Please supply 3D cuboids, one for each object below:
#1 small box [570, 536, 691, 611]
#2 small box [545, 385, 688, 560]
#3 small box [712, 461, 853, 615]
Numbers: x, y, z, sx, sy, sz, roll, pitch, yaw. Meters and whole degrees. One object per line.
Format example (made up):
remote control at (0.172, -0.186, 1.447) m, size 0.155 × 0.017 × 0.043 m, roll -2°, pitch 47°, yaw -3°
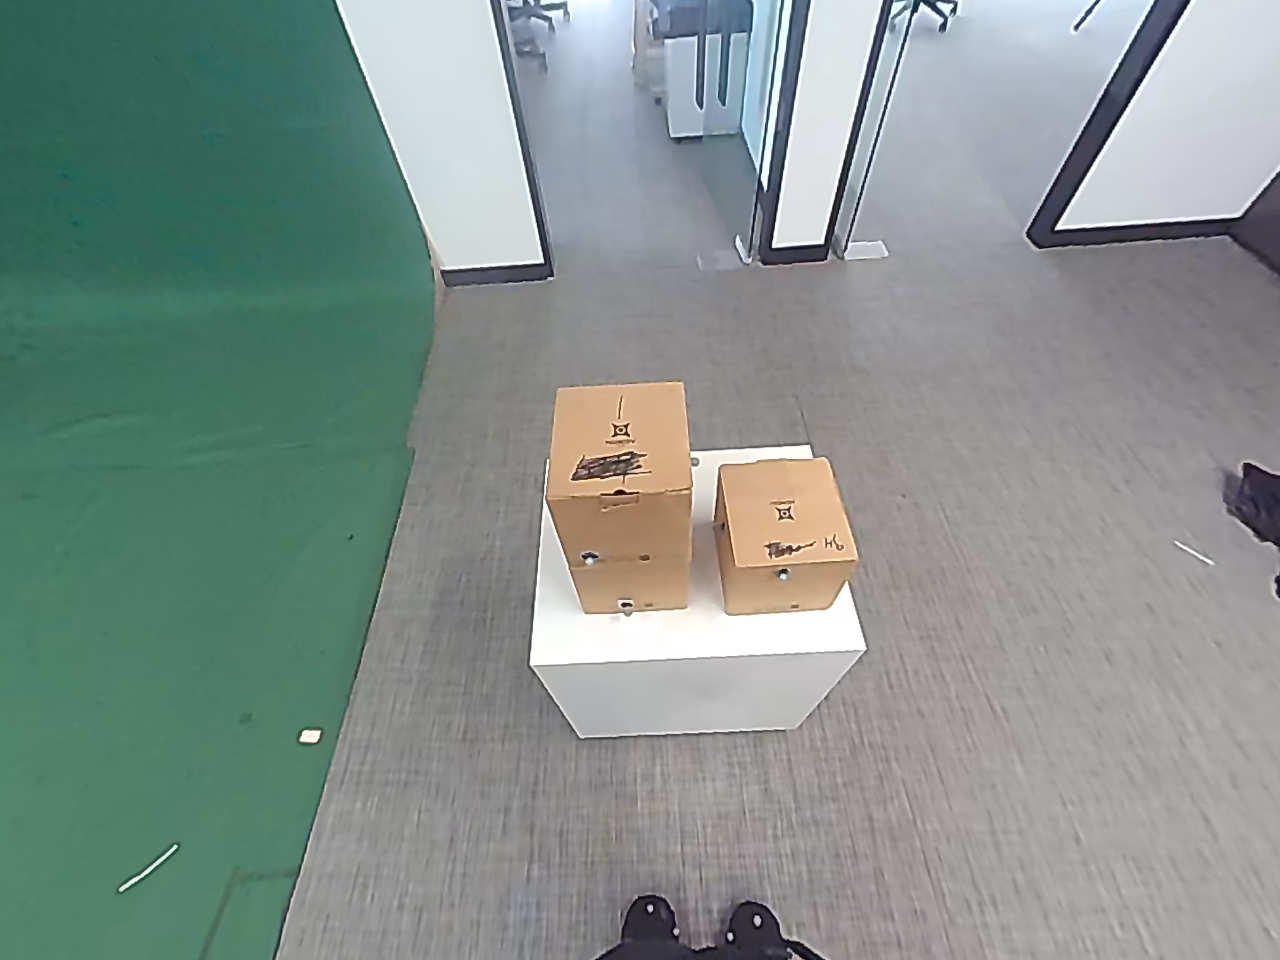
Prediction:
small box at (-0.014, 0.086, 0.838) m, size 0.168 × 0.176 × 0.179 m, roll -5°, pitch 55°, yaw 0°
small box at (-0.021, -0.003, 0.720) m, size 0.168 × 0.176 × 0.179 m, roll -2°, pitch 52°, yaw 2°
small box at (0.206, 0.091, 0.837) m, size 0.168 × 0.176 × 0.179 m, roll -3°, pitch 53°, yaw 1°
